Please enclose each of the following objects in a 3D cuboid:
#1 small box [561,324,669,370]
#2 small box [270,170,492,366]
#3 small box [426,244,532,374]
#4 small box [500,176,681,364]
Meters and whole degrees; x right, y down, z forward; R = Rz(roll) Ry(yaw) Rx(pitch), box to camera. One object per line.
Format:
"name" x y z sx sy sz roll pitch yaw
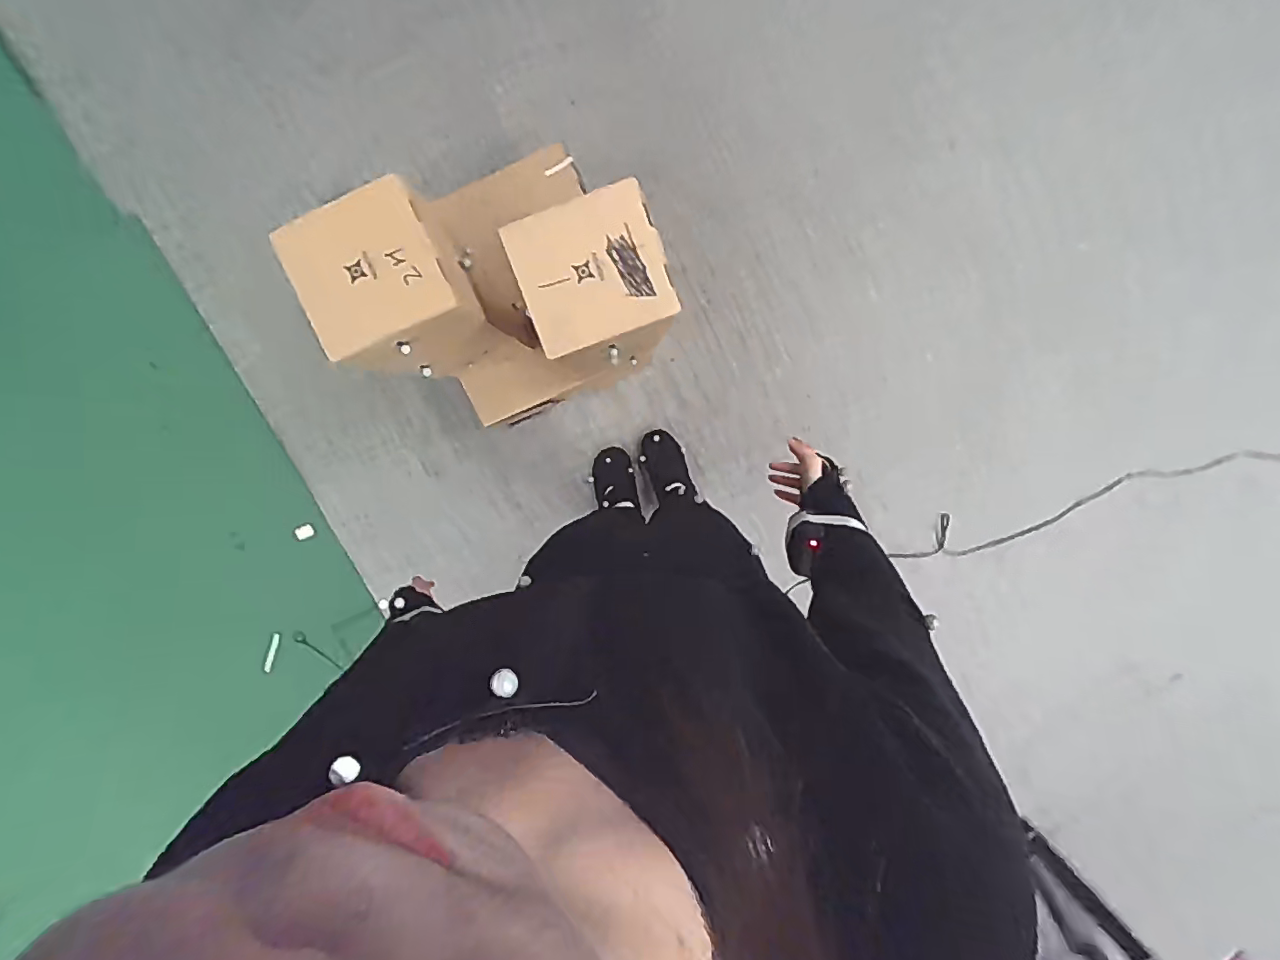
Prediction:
"small box" -0.066 -0.287 0.883 0.179 0.176 0.168 -20 98 2
"small box" -0.325 -0.262 0.717 0.179 0.176 0.168 -23 97 4
"small box" -0.328 -0.318 1.042 0.168 0.176 0.179 -21 96 4
"small box" -0.060 -0.263 0.720 0.179 0.176 0.168 -20 97 2
